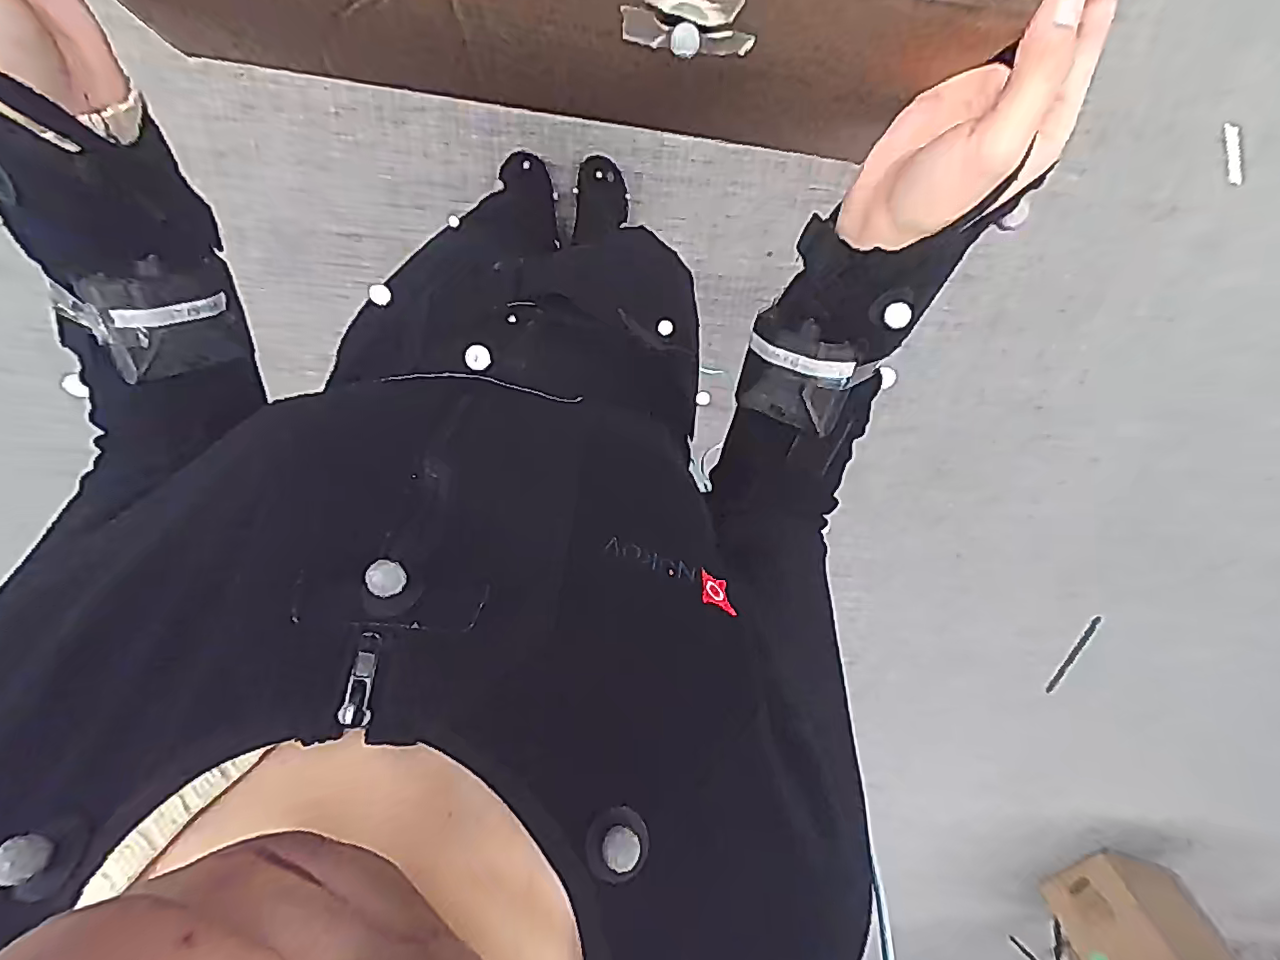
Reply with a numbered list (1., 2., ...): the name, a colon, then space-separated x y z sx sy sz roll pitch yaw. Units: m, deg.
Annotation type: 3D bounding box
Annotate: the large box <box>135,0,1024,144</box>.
1. large box: -0.029 -0.353 0.157 0.408 0.320 0.320 4 100 -6
